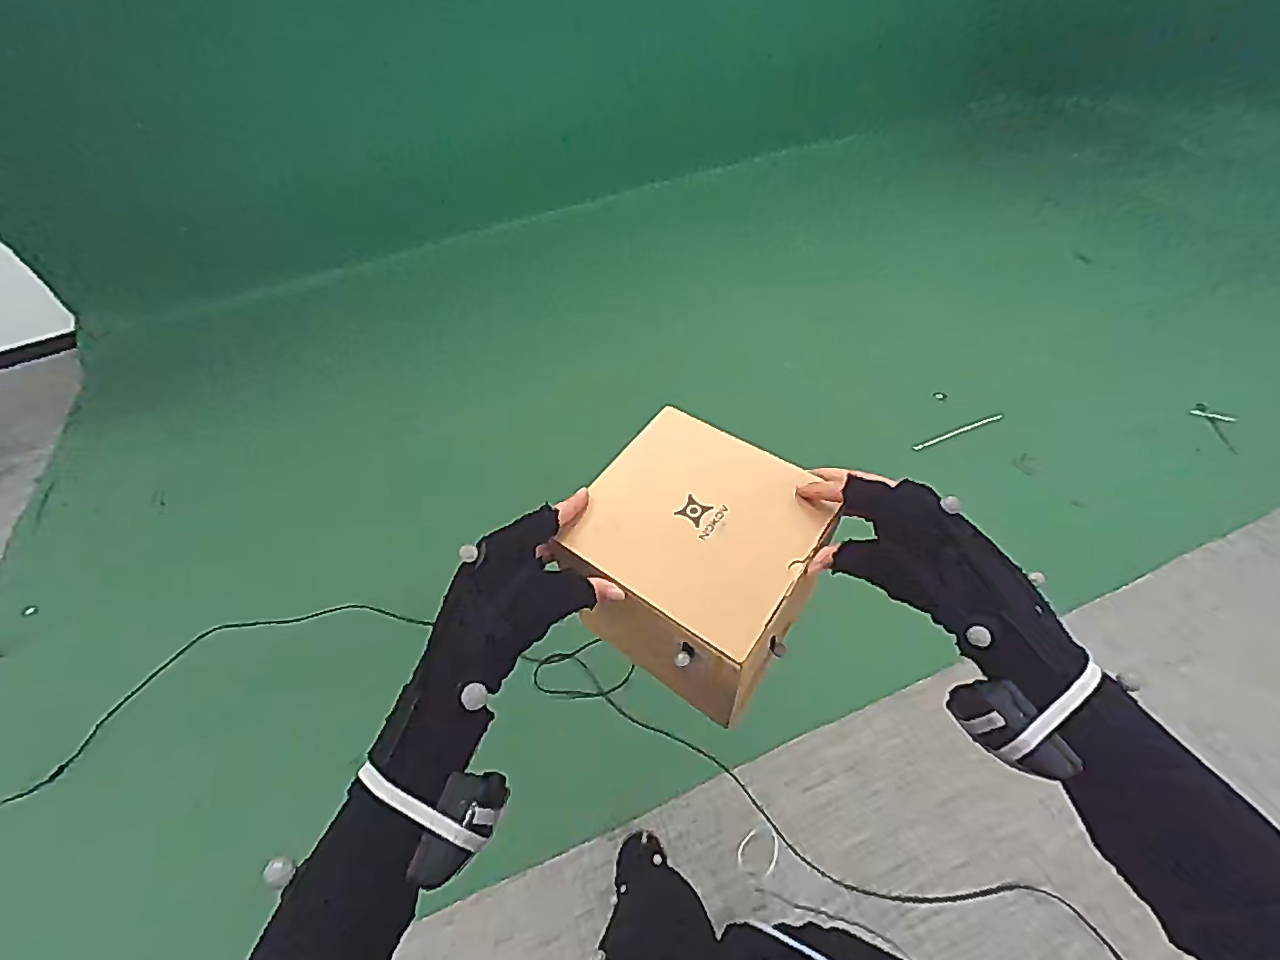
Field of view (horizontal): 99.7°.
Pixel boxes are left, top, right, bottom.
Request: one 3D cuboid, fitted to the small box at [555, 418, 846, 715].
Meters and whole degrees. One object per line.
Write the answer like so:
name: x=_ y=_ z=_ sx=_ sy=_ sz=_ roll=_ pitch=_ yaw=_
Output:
small box: x=0.051 y=0.081 z=0.490 sx=0.179 sy=0.176 sz=0.168 roll=30 pitch=60 yaw=23
